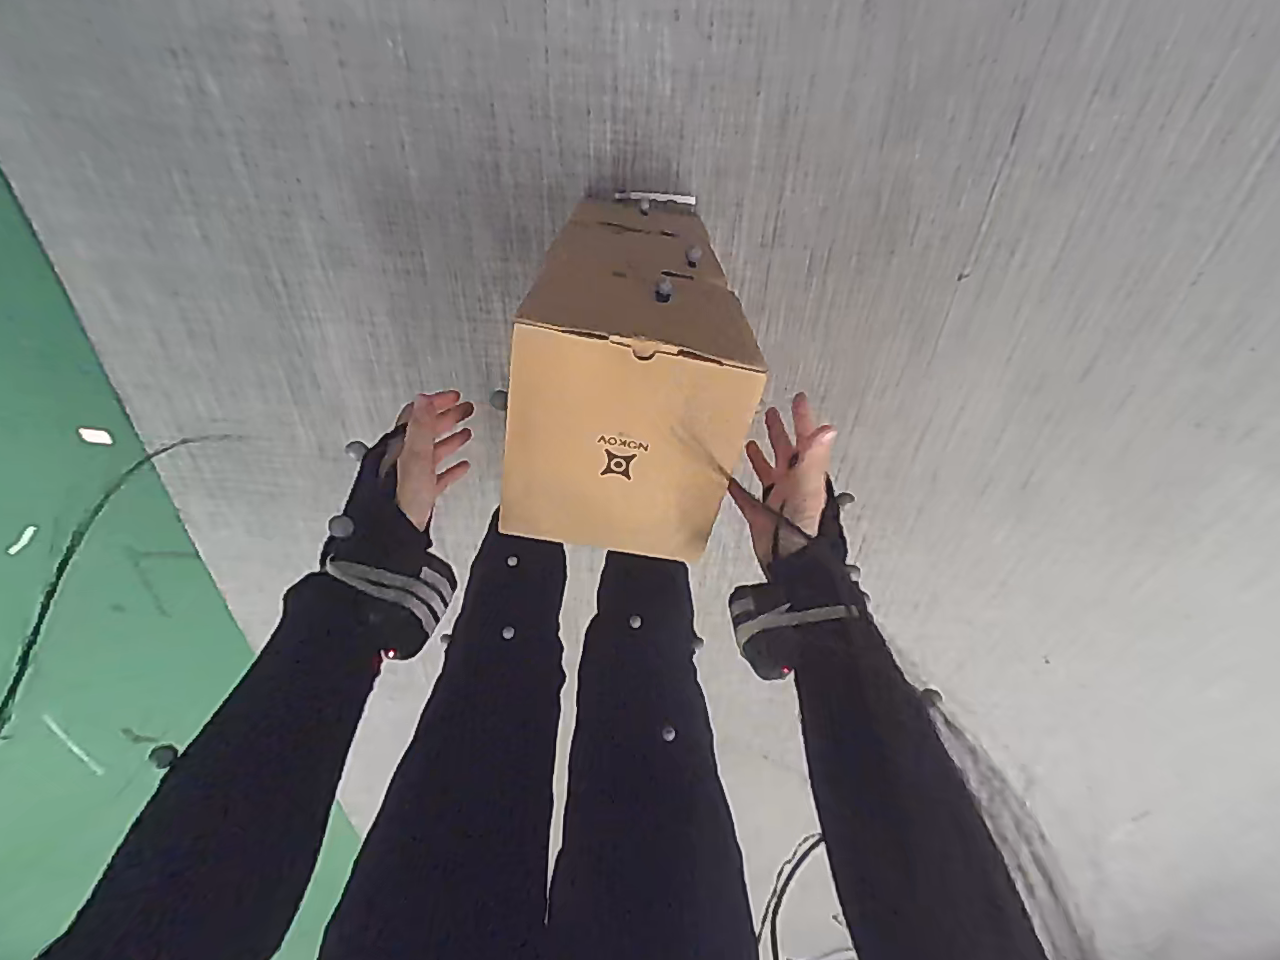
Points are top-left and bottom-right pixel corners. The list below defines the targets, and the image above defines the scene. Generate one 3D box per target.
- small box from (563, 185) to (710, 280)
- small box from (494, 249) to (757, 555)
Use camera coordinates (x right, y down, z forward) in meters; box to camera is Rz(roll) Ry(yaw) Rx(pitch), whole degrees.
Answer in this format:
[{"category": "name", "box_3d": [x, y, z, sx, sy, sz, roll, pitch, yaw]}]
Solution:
[{"category": "small box", "box_3d": [-0.013, -0.266, 0.712, 0.168, 0.176, 0.179, 8, 126, -6]}, {"category": "small box", "box_3d": [-0.016, -0.068, 0.453, 0.168, 0.176, 0.179, 11, 126, -6]}]
